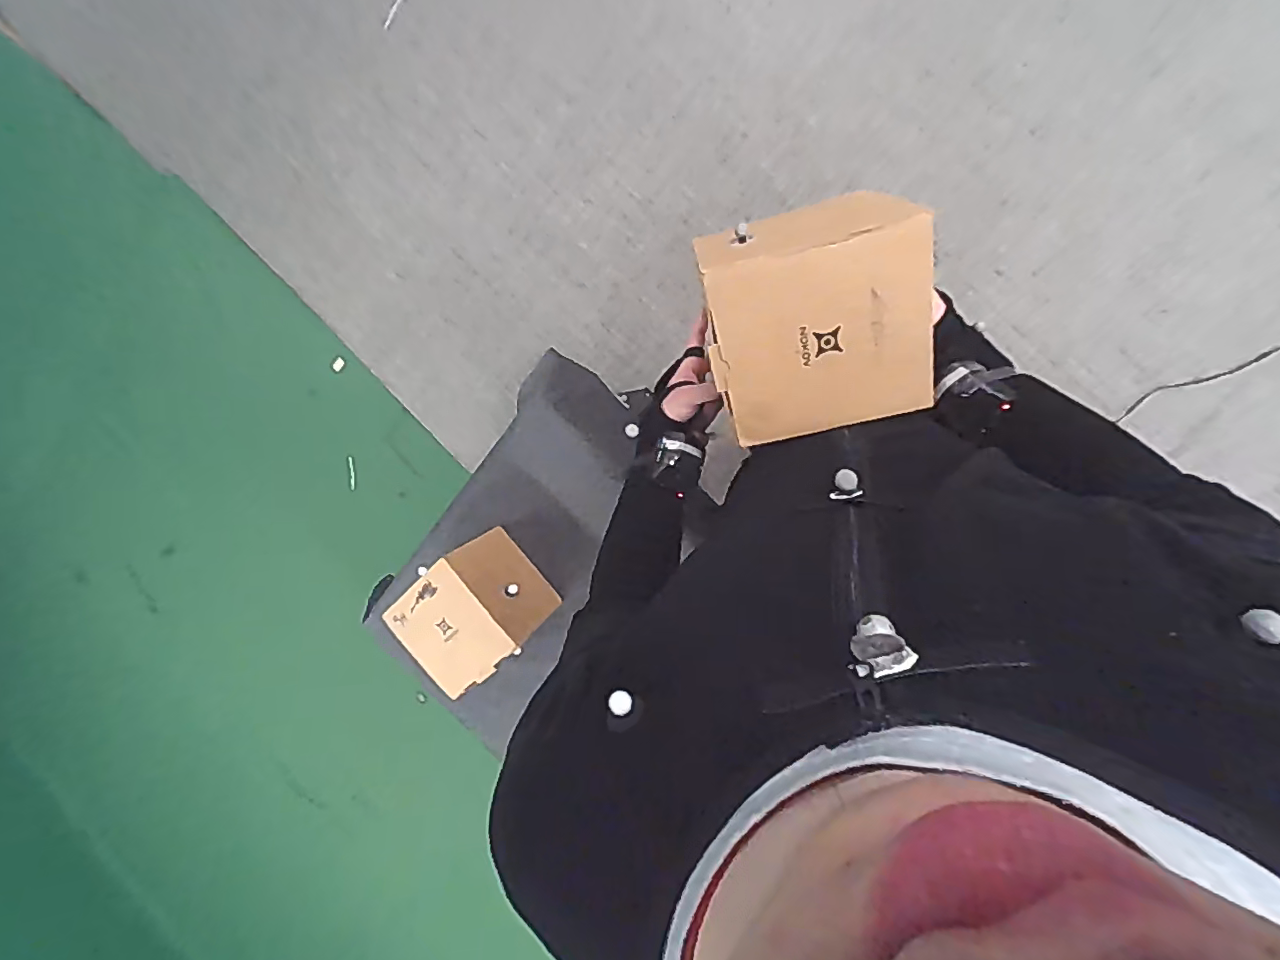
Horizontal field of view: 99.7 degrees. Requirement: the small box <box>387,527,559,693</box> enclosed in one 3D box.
[{"bbox_3d":[-0.266,0.205,0.898,0.168,0.176,0.179,-41,90,19],"label":"small box"}]
